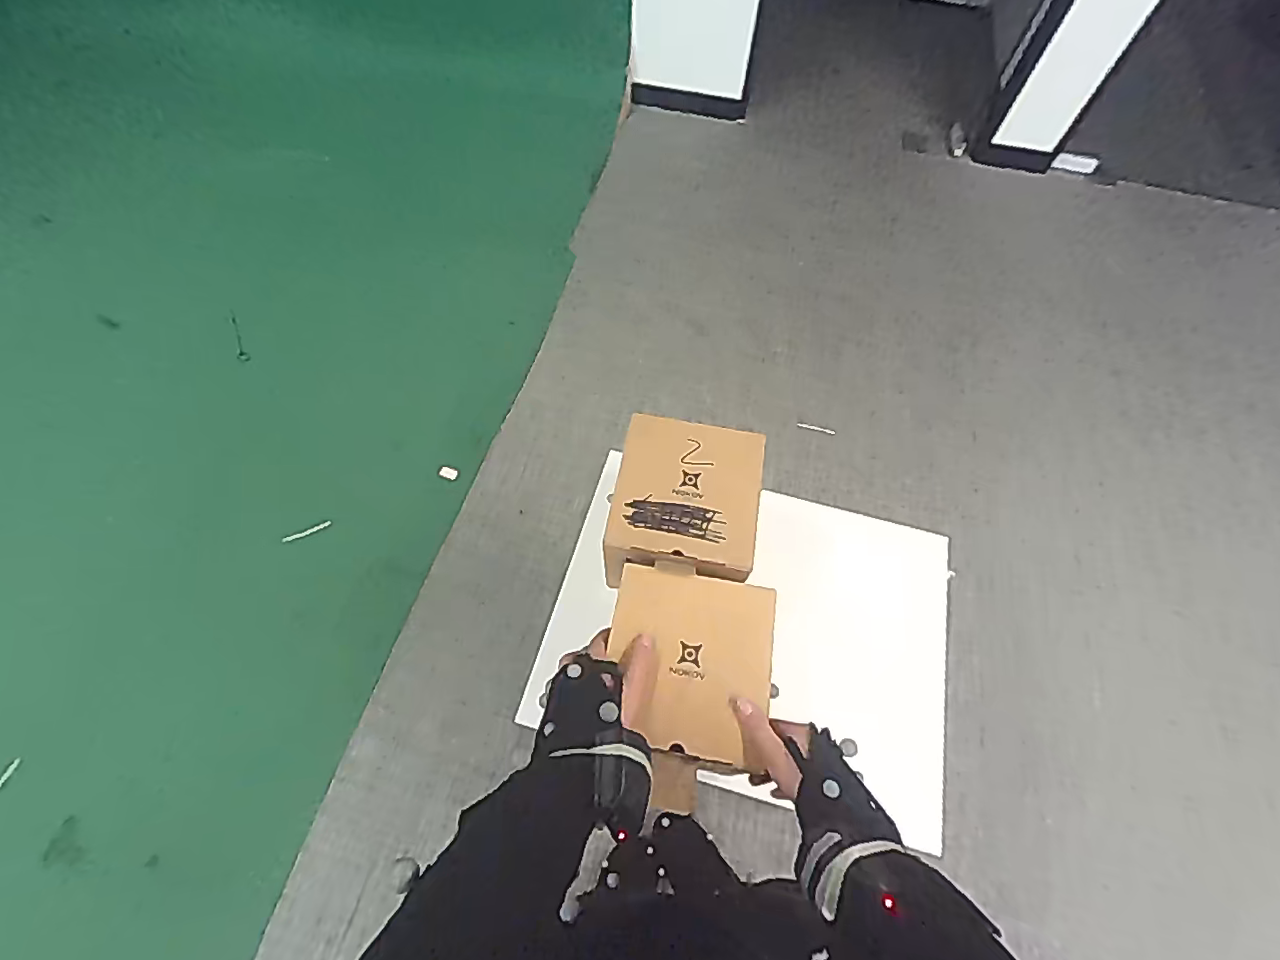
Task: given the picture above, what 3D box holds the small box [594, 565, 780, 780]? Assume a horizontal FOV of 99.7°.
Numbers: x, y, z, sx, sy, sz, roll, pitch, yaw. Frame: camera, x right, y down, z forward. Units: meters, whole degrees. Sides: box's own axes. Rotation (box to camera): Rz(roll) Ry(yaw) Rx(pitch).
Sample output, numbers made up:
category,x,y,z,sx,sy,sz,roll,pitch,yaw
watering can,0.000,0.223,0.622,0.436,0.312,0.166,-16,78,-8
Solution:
category,x,y,z,sx,sy,sz,roll,pitch,yaw
small box,0.045,0.217,0.597,0.168,0.176,0.179,12,61,2
